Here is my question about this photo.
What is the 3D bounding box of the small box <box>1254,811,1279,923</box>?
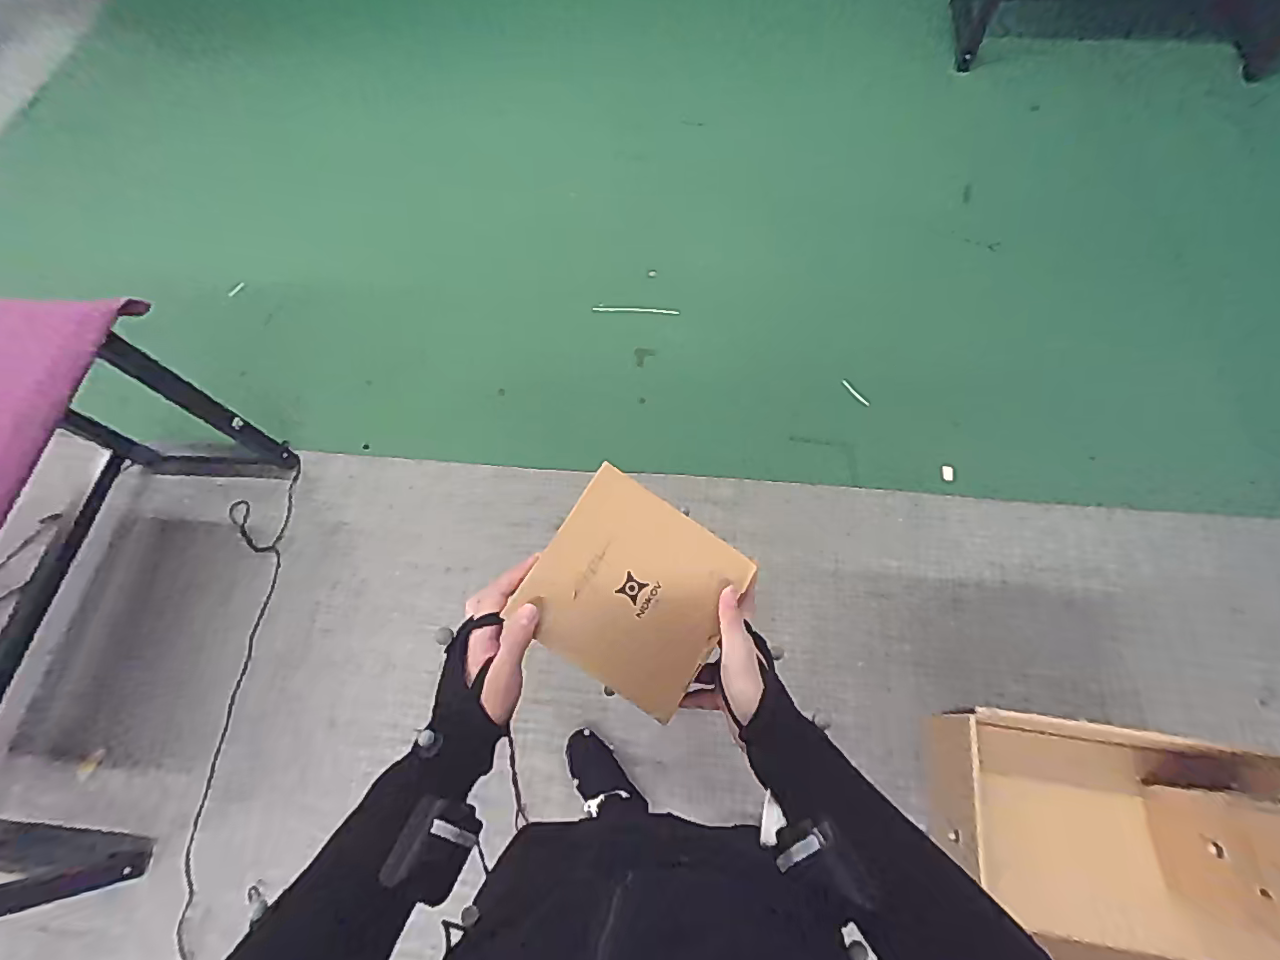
[{"bbox_3d":[0.931,0.516,0.661,0.179,0.176,0.168,1,67,7],"label":"small box"}]
